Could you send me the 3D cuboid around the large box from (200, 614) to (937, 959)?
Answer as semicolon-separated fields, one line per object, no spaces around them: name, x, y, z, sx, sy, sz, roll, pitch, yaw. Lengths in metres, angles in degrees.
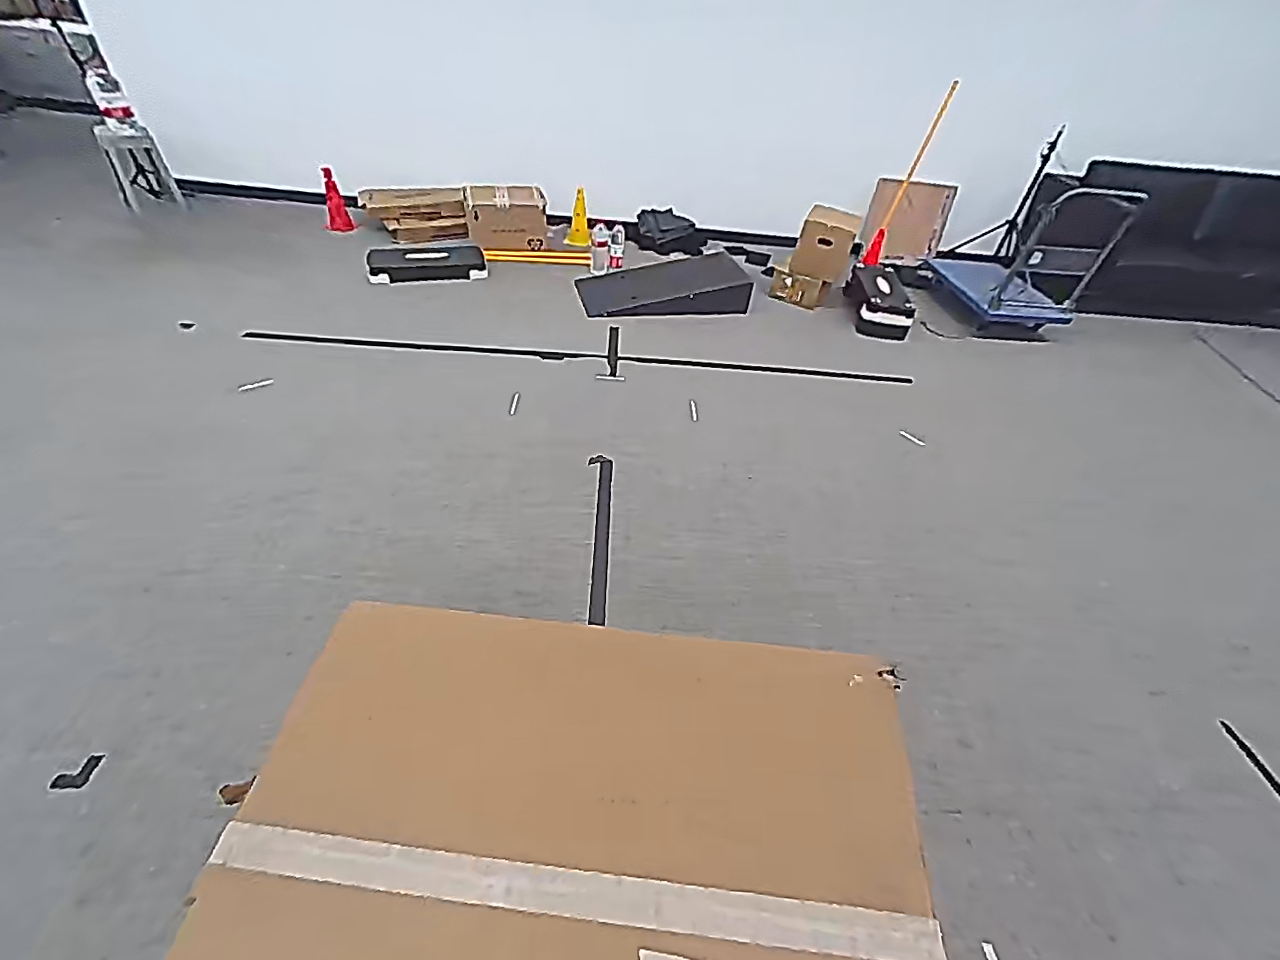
large box;-0.037;0.330;0.426;0.408;0.320;0.320;5;51;4
